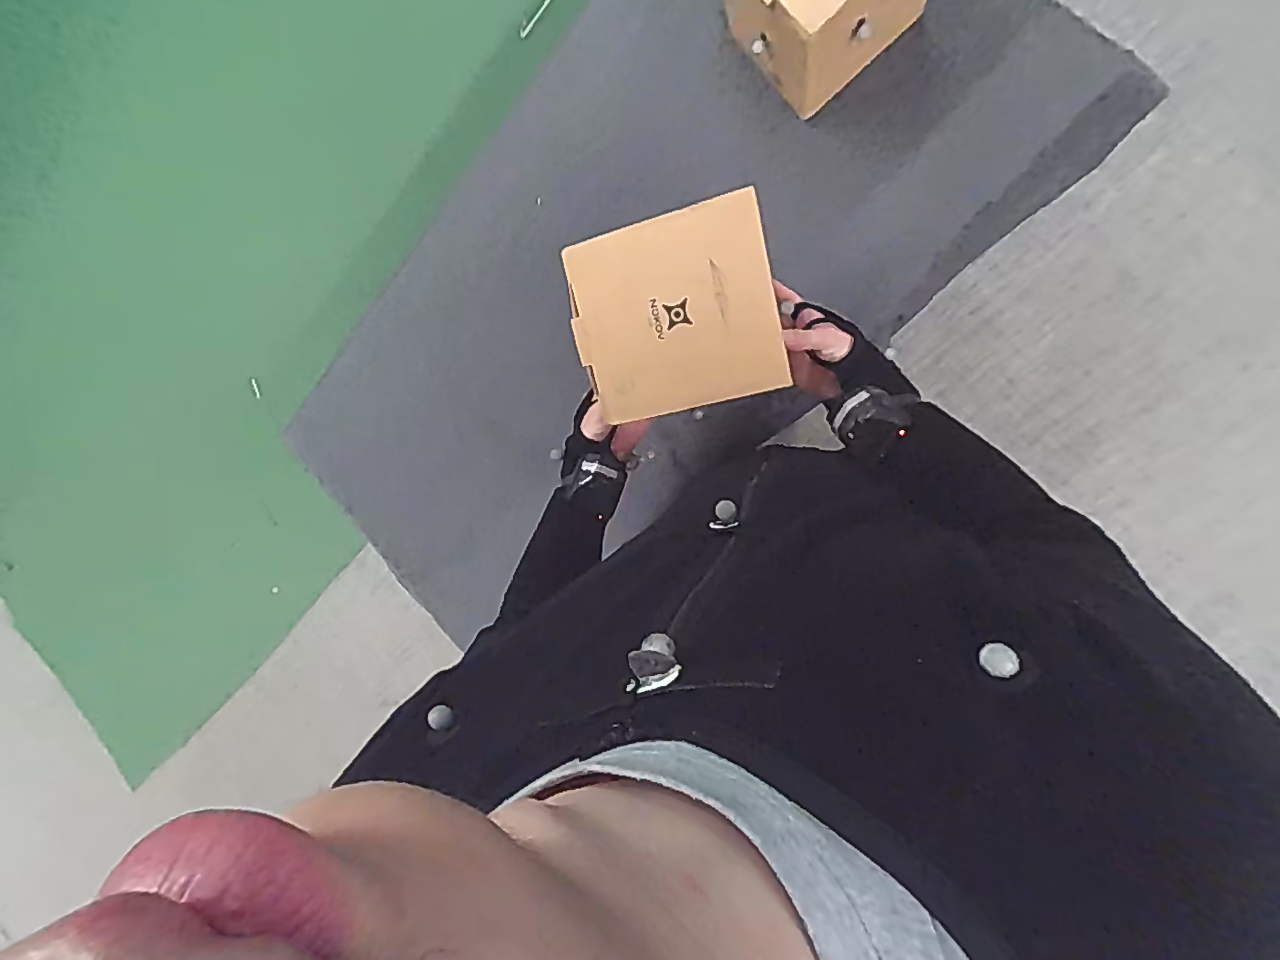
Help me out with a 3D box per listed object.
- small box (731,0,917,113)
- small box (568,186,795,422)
[{"bbox_3d":[0.214,-0.581,0.623,0.179,0.176,0.168,-38,86,17],"label":"small box"},{"bbox_3d":[0.053,-0.163,0.546,0.179,0.176,0.168,-11,101,15],"label":"small box"}]
